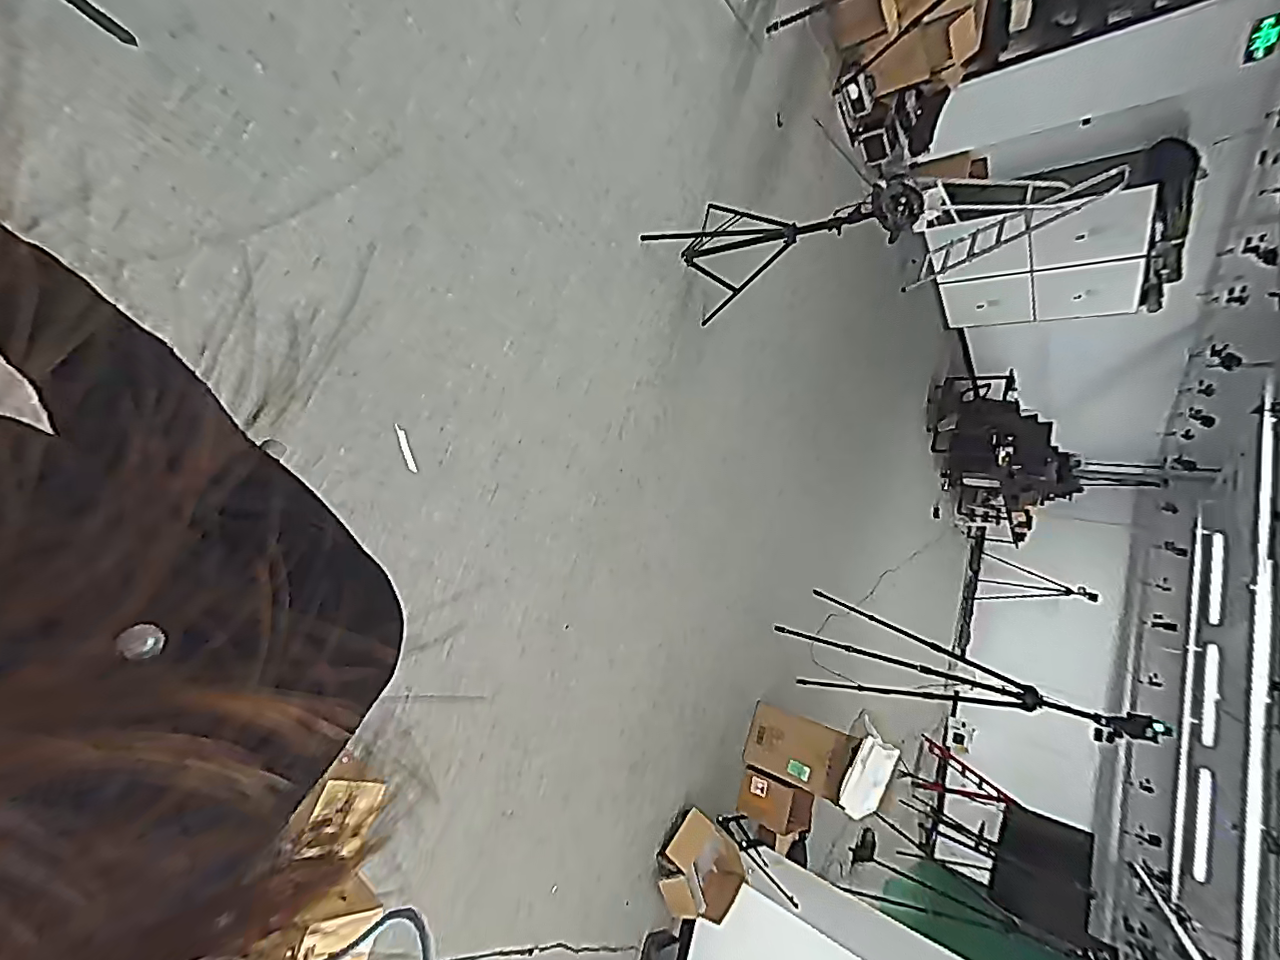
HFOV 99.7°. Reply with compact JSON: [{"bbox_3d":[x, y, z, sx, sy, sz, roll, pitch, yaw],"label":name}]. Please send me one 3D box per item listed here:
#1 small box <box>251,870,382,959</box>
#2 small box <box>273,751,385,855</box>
[{"bbox_3d":[-0.738,1.031,1.236,0.179,0.176,0.168,33,70,-48],"label":"small box"},{"bbox_3d":[-0.803,0.826,1.386,0.168,0.176,0.179,40,63,-45],"label":"small box"}]
